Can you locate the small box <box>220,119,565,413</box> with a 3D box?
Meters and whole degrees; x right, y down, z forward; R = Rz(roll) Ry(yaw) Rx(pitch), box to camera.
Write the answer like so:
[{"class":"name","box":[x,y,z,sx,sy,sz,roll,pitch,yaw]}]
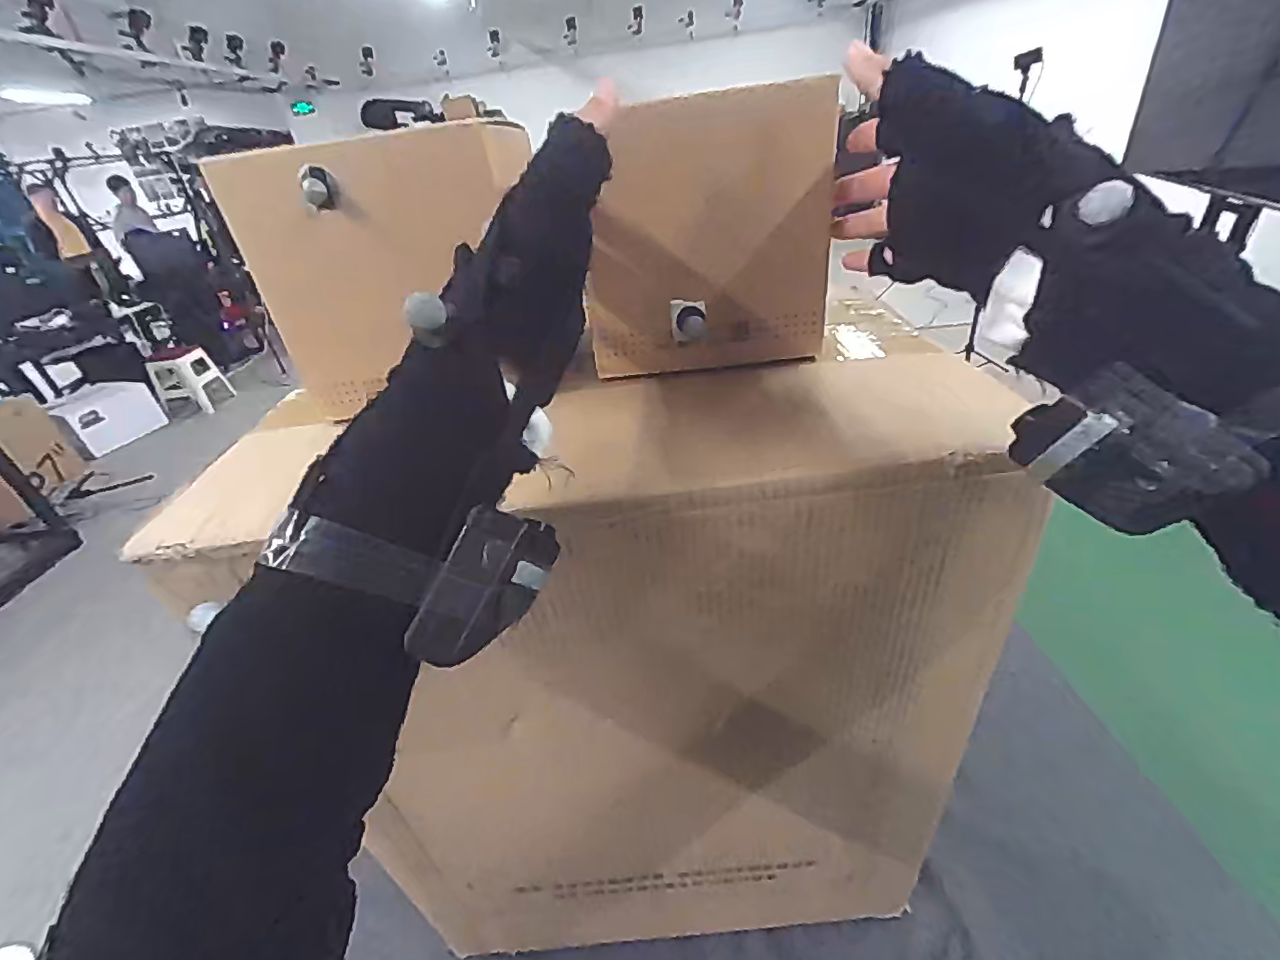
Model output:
[{"class":"small box","box":[-0.160,-0.168,0.426,0.168,0.176,0.179,-8,31,3]}]
